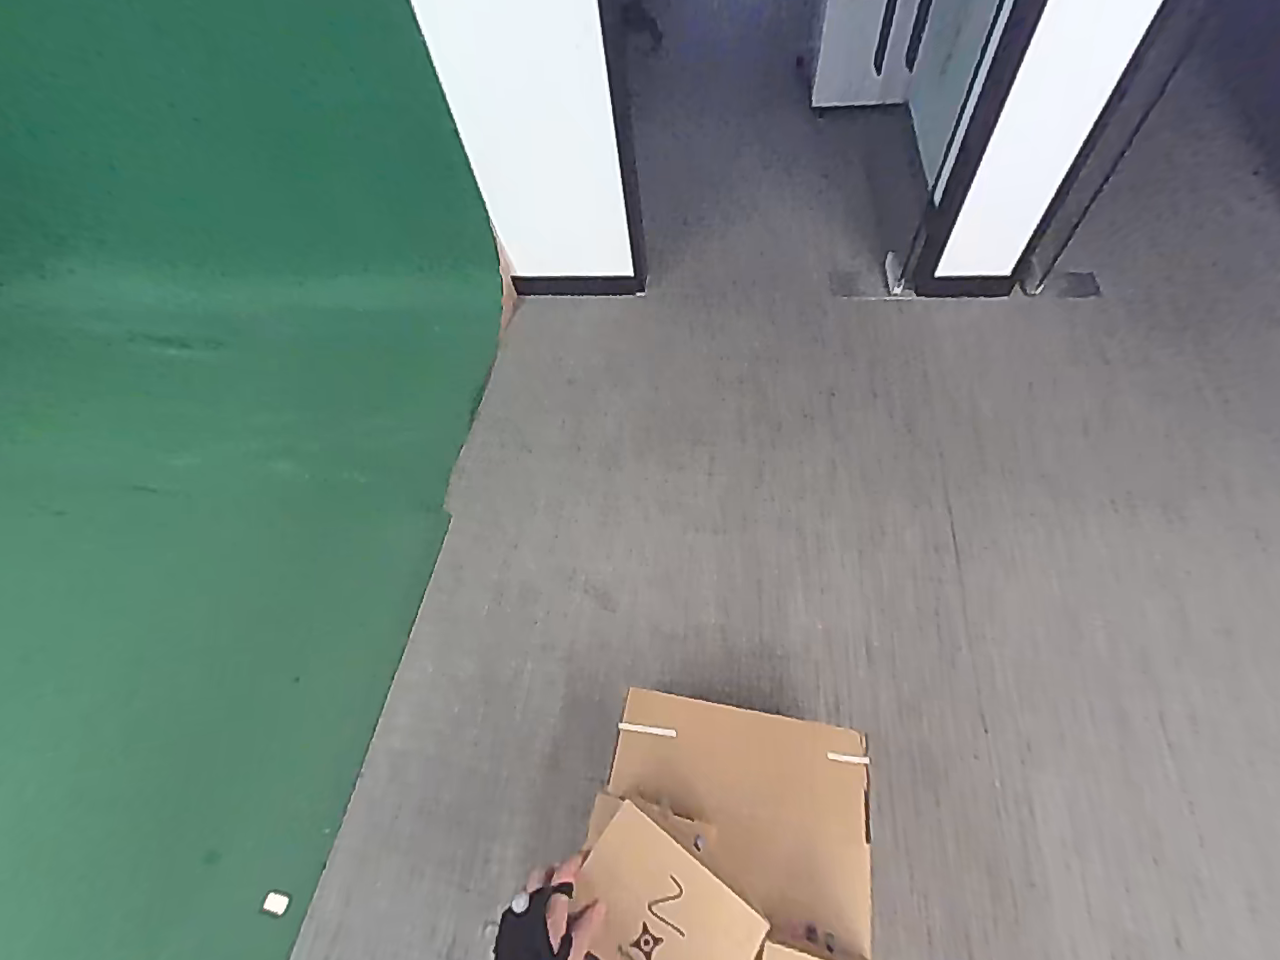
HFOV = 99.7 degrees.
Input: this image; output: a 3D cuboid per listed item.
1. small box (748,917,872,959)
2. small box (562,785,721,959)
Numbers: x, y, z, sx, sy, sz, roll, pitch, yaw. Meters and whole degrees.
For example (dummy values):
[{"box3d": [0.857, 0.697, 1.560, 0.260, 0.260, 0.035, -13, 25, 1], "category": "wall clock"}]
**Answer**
[{"box3d": [0.209, 0.656, 0.637, 0.168, 0.176, 0.179, 11, 58, 12], "category": "small box"}, {"box3d": [0.013, 0.541, 0.736, 0.168, 0.176, 0.179, 9, 58, 14], "category": "small box"}]
